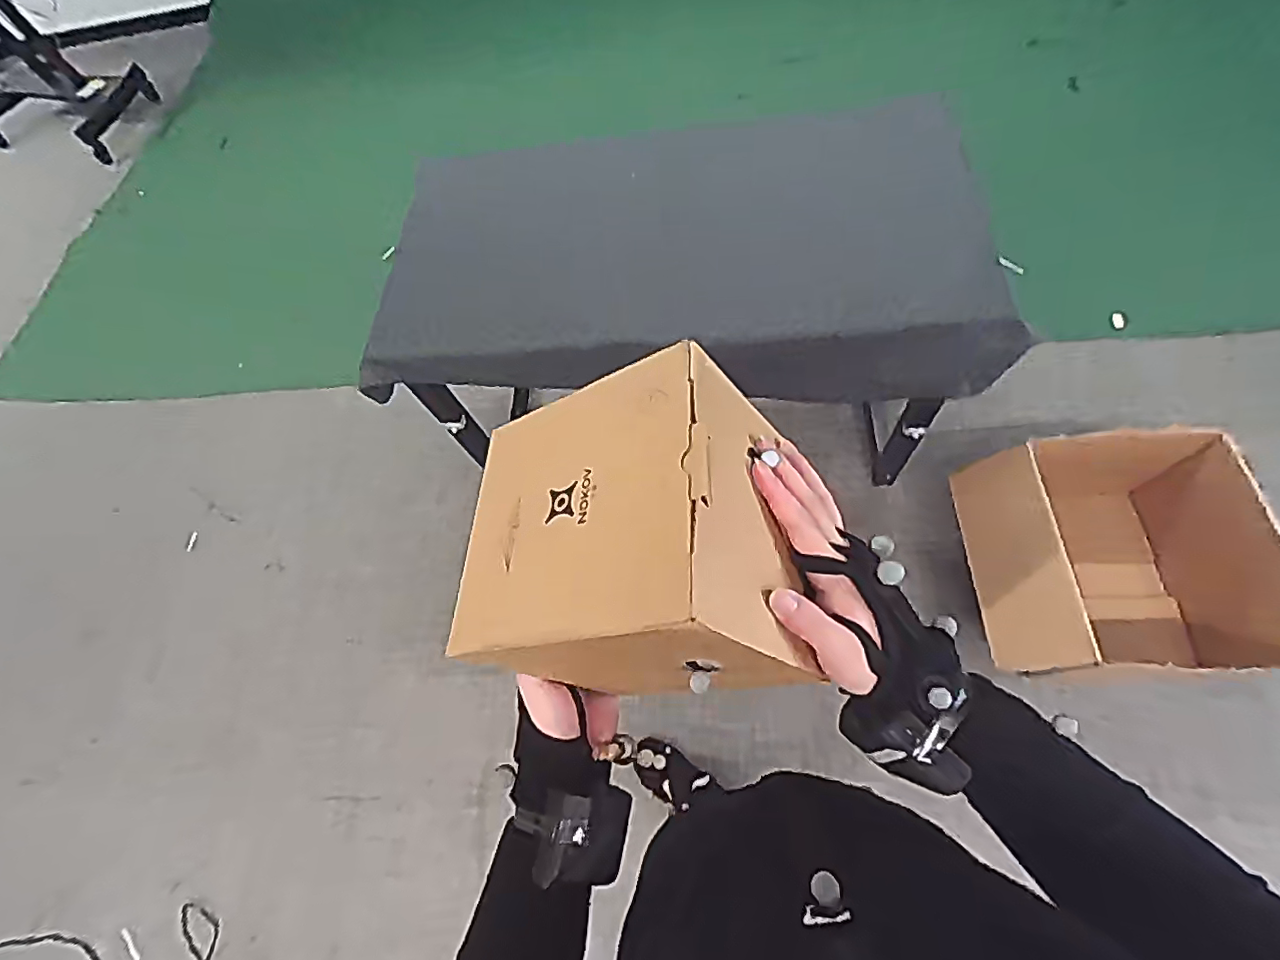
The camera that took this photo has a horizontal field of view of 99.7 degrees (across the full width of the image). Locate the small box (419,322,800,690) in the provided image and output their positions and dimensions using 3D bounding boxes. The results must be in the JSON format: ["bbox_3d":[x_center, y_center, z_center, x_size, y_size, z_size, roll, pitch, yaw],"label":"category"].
[{"bbox_3d":[-0.007,0.037,0.358,0.179,0.176,0.168,-19,53,33],"label":"small box"}]
